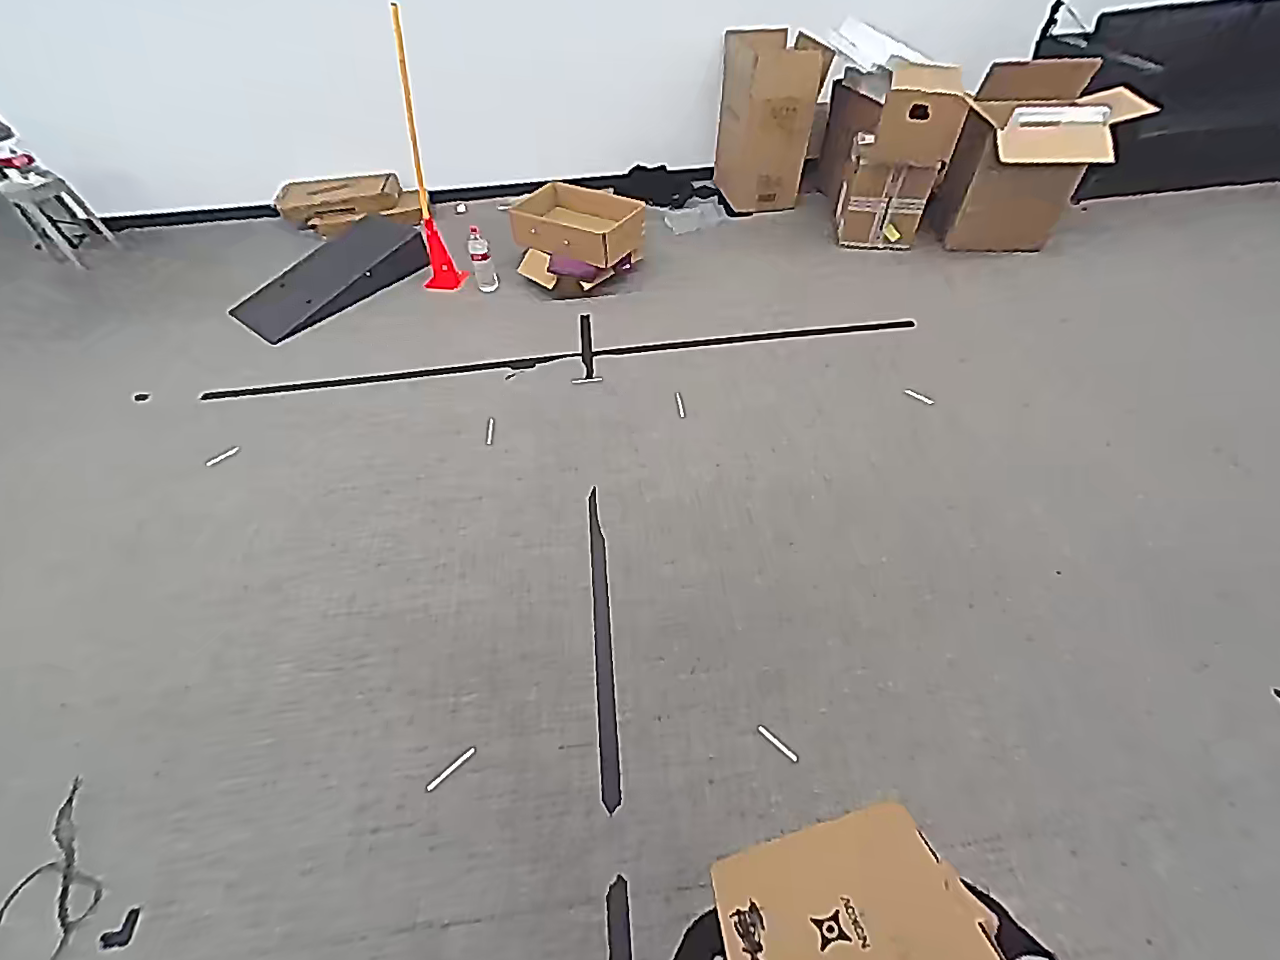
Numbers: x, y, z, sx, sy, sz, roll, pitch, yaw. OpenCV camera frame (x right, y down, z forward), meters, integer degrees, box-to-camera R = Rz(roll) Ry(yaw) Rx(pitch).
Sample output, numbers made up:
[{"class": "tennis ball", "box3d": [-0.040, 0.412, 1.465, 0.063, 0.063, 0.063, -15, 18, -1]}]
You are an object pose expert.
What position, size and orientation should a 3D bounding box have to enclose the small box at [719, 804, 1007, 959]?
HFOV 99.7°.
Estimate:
[{"class": "small box", "box3d": [0.179, 0.401, 0.413, 0.179, 0.176, 0.168, -20, 11, 1]}]
